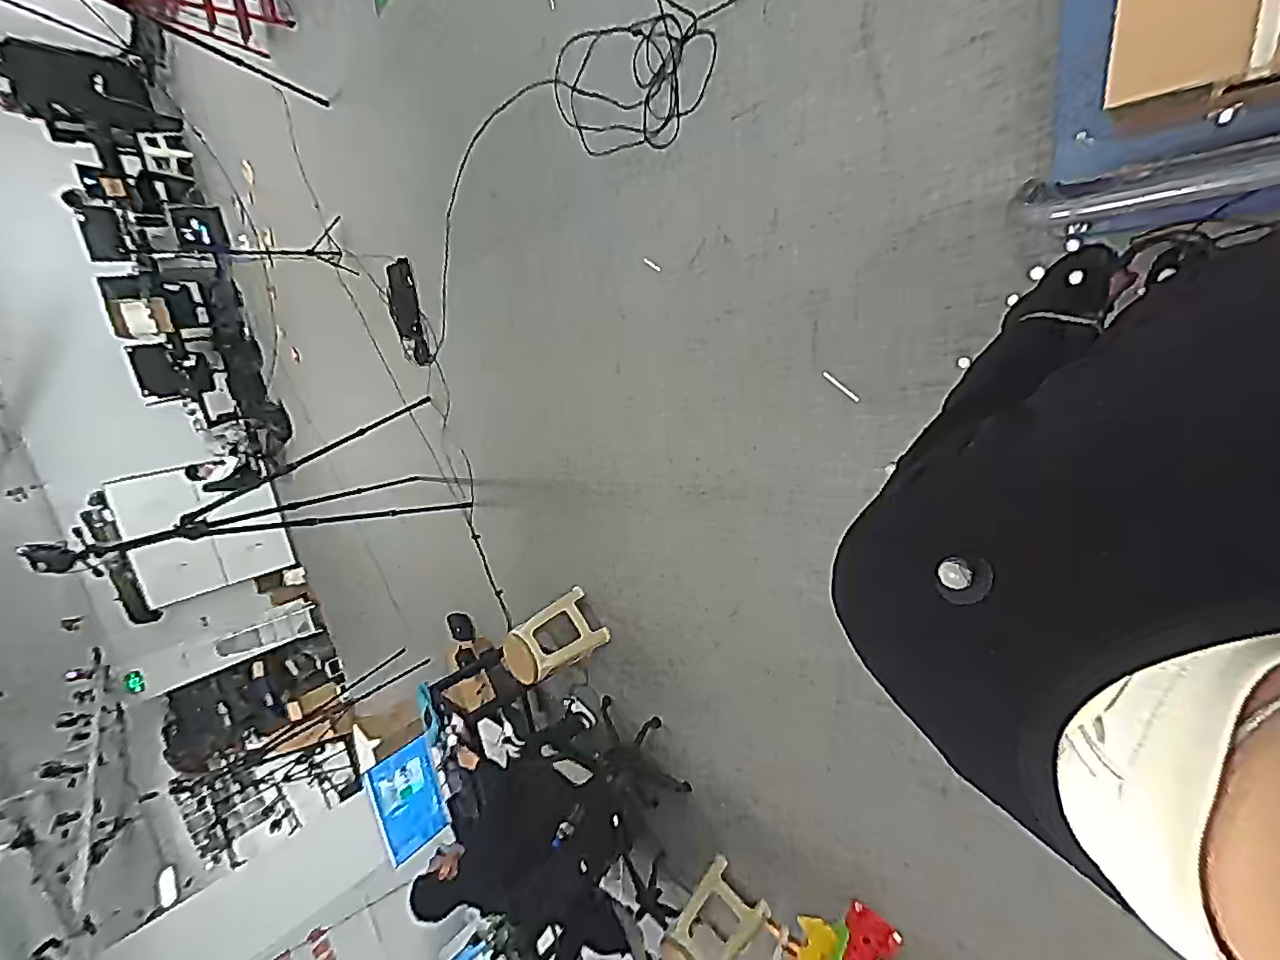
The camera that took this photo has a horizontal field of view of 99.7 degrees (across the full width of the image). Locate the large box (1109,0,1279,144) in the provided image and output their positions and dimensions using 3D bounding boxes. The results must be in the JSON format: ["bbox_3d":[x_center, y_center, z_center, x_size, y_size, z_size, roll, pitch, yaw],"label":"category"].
[{"bbox_3d":[0.892,-0.754,0.747,0.320,0.320,0.408,10,112,43],"label":"large box"}]
